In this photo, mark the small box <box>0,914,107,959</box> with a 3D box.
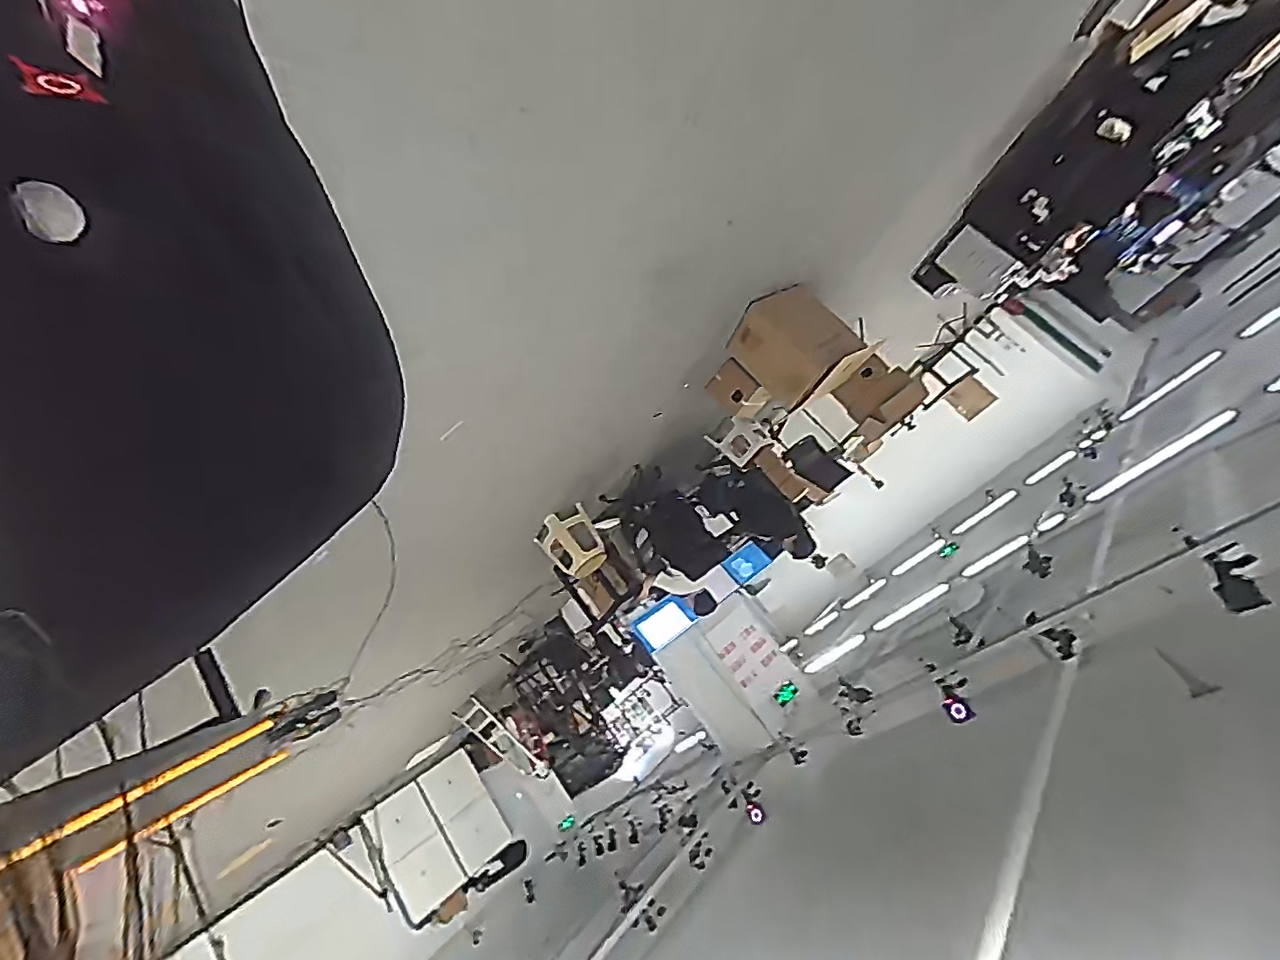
[{"bbox_3d":[-1.471,1.231,1.348,0.168,0.176,0.179,-26,157,-42],"label":"small box"}]

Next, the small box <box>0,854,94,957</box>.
[{"bbox_3d":[-1.572,1.109,1.395,0.168,0.176,0.179,-27,157,-40],"label":"small box"}]
